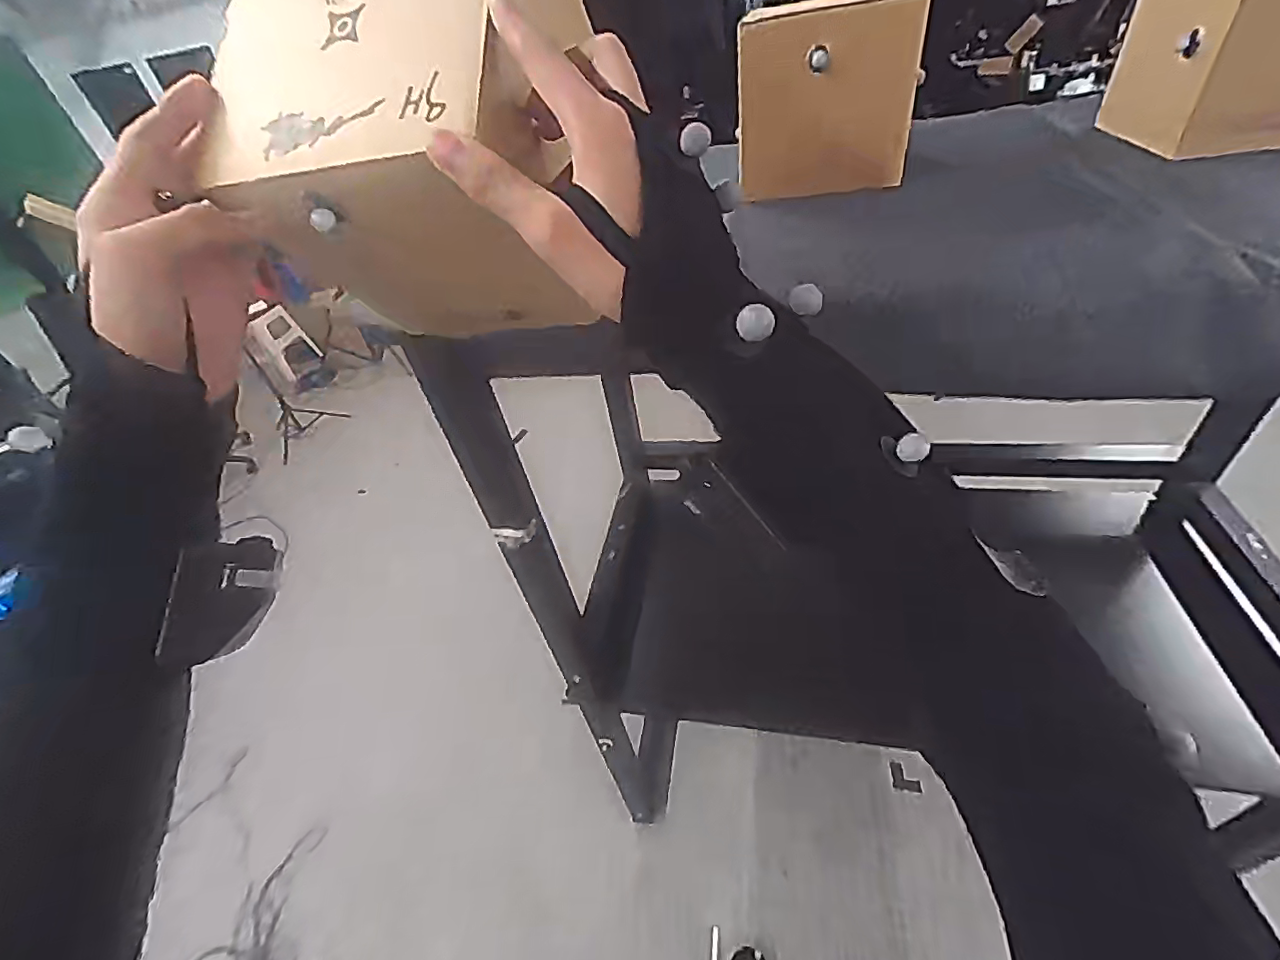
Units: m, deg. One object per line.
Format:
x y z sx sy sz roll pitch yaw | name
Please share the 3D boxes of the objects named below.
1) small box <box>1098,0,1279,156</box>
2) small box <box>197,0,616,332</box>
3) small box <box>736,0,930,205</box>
0.595 -0.424 0.516 0.168 0.176 0.179 0 43 12 | small box
-0.120 -0.214 0.346 0.168 0.176 0.179 2 79 16 | small box
0.206 -0.432 0.615 0.179 0.176 0.168 2 43 15 | small box
